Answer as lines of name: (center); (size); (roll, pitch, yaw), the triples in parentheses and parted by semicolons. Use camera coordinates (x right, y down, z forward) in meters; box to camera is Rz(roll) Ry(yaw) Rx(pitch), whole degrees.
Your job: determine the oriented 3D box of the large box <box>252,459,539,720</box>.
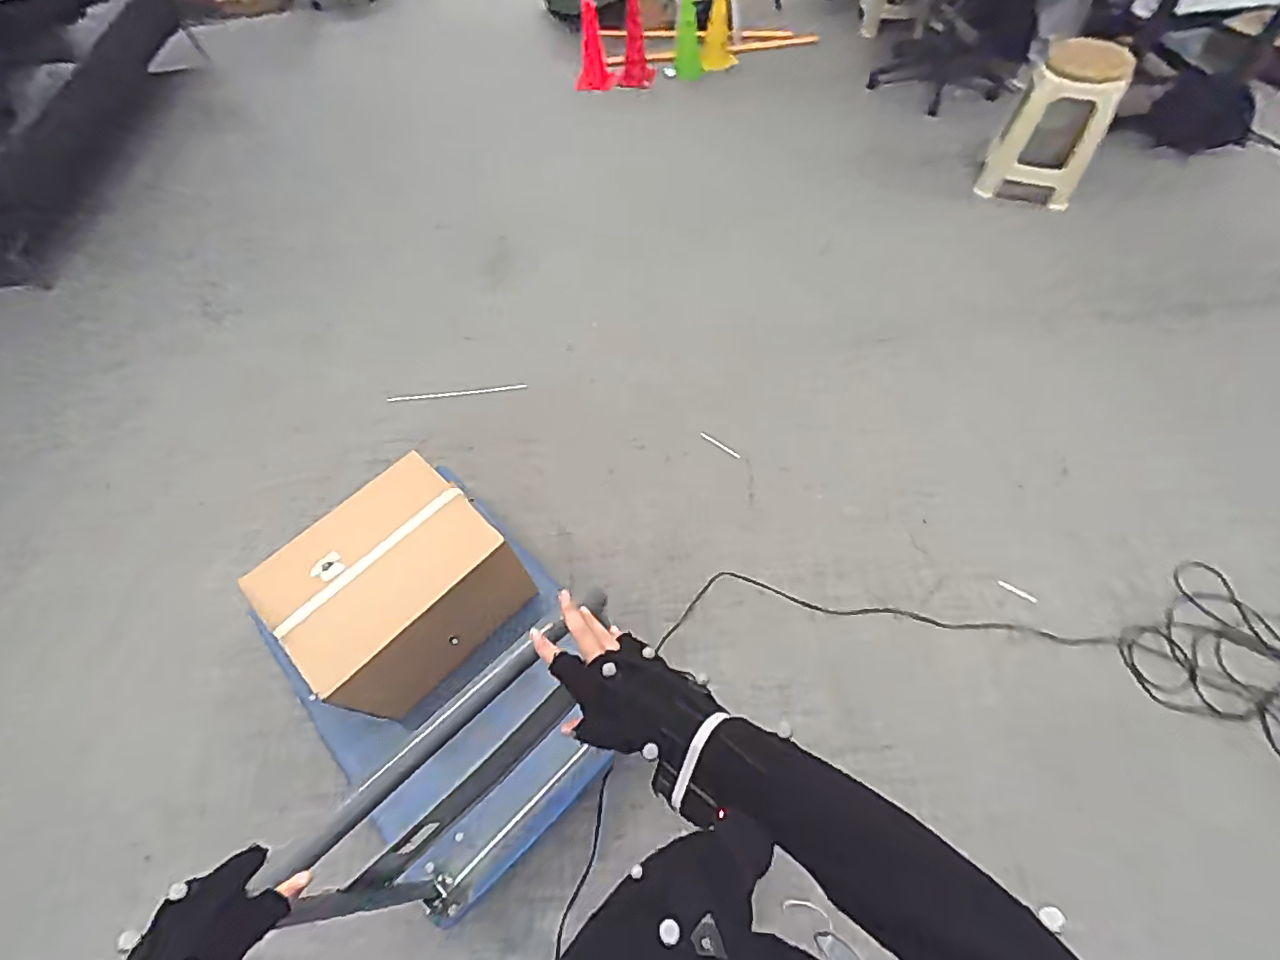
large box: (-0.488, 0.239, 1.166); (0.320, 0.320, 0.408); (38, 70, 23)
